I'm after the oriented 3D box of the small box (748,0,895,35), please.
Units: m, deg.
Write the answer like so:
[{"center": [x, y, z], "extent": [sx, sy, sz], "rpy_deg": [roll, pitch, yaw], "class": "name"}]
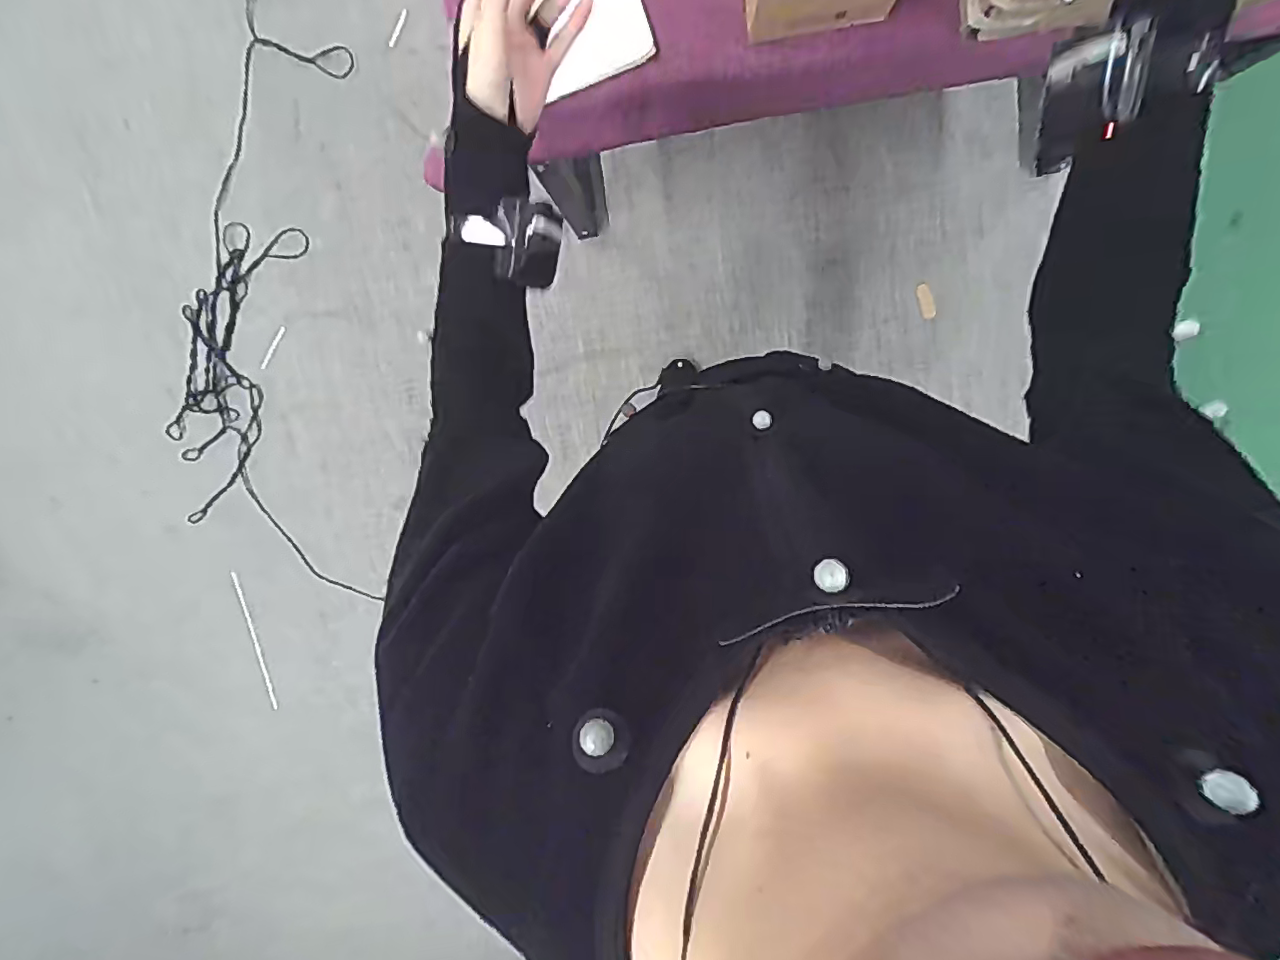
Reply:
[{"center": [0.203, -0.611, 0.567], "extent": [0.168, 0.176, 0.179], "rpy_deg": [-5, 98, 4], "class": "small box"}]
